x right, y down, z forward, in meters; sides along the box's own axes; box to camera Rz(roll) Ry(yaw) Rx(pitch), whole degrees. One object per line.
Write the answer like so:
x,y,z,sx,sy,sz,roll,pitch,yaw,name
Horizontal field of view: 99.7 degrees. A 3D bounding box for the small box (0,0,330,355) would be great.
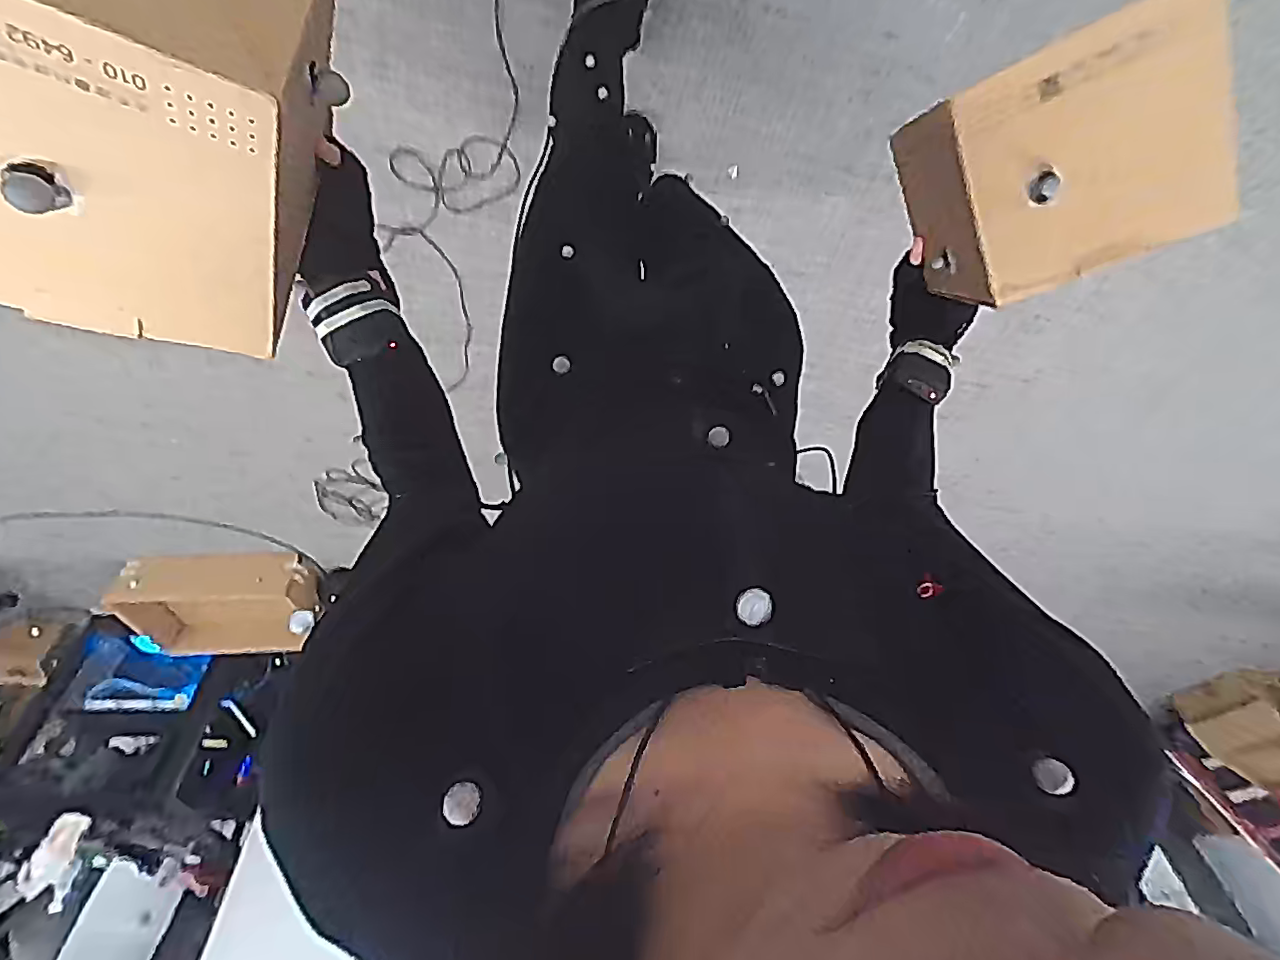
-0.256,-0.196,0.259,0.168,0.179,0.176,10,147,-30,small box
